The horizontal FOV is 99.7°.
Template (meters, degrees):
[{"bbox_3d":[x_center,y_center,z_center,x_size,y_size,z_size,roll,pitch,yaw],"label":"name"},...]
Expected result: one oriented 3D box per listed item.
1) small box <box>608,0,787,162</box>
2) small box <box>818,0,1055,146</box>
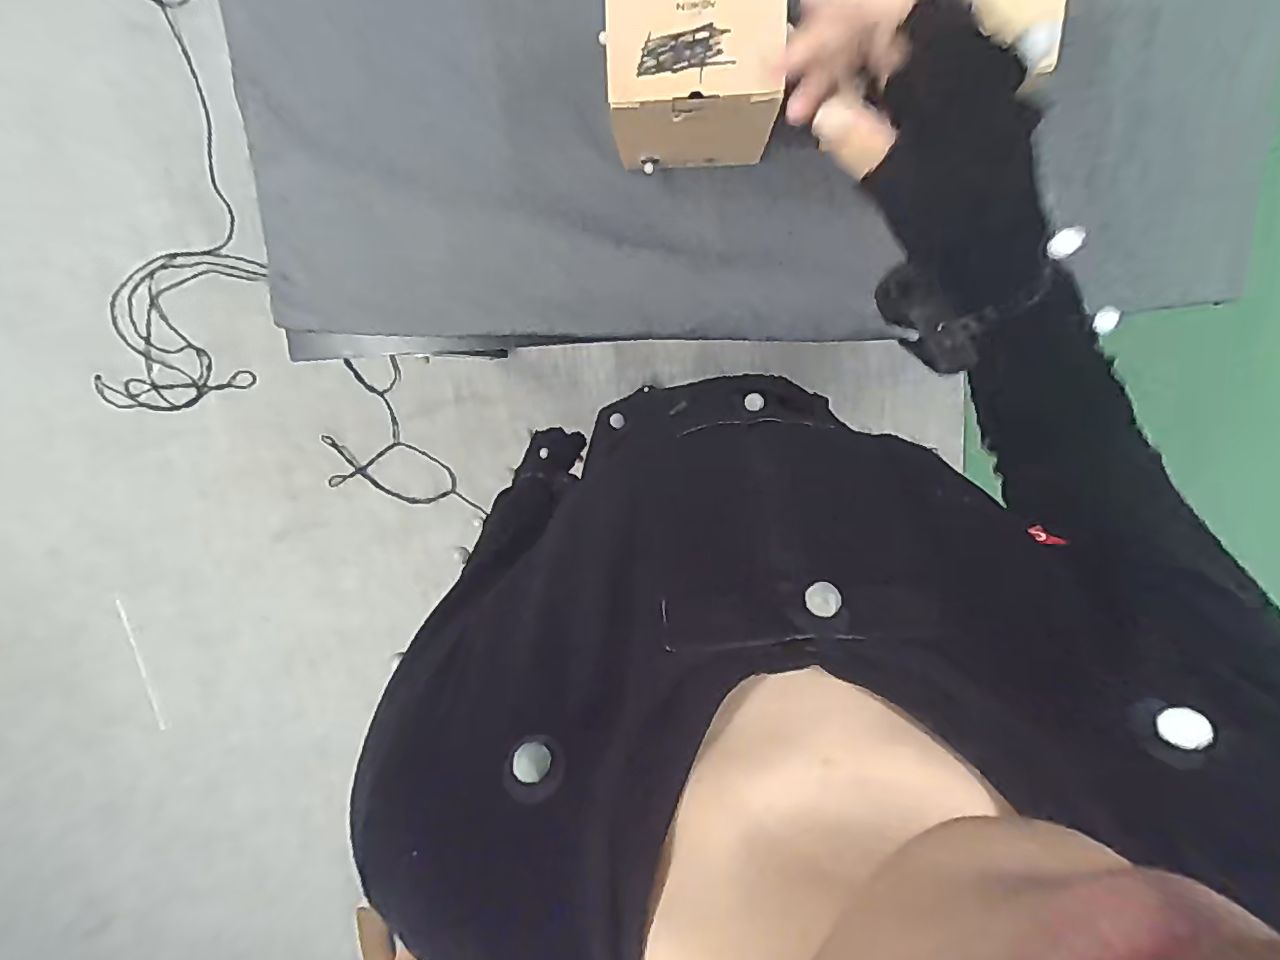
[{"bbox_3d":[0.058,-0.454,0.566,0.168,0.176,0.179,0,101,4],"label":"small box"},{"bbox_3d":[0.289,-0.469,0.548,0.168,0.176,0.179,4,105,5],"label":"small box"}]
